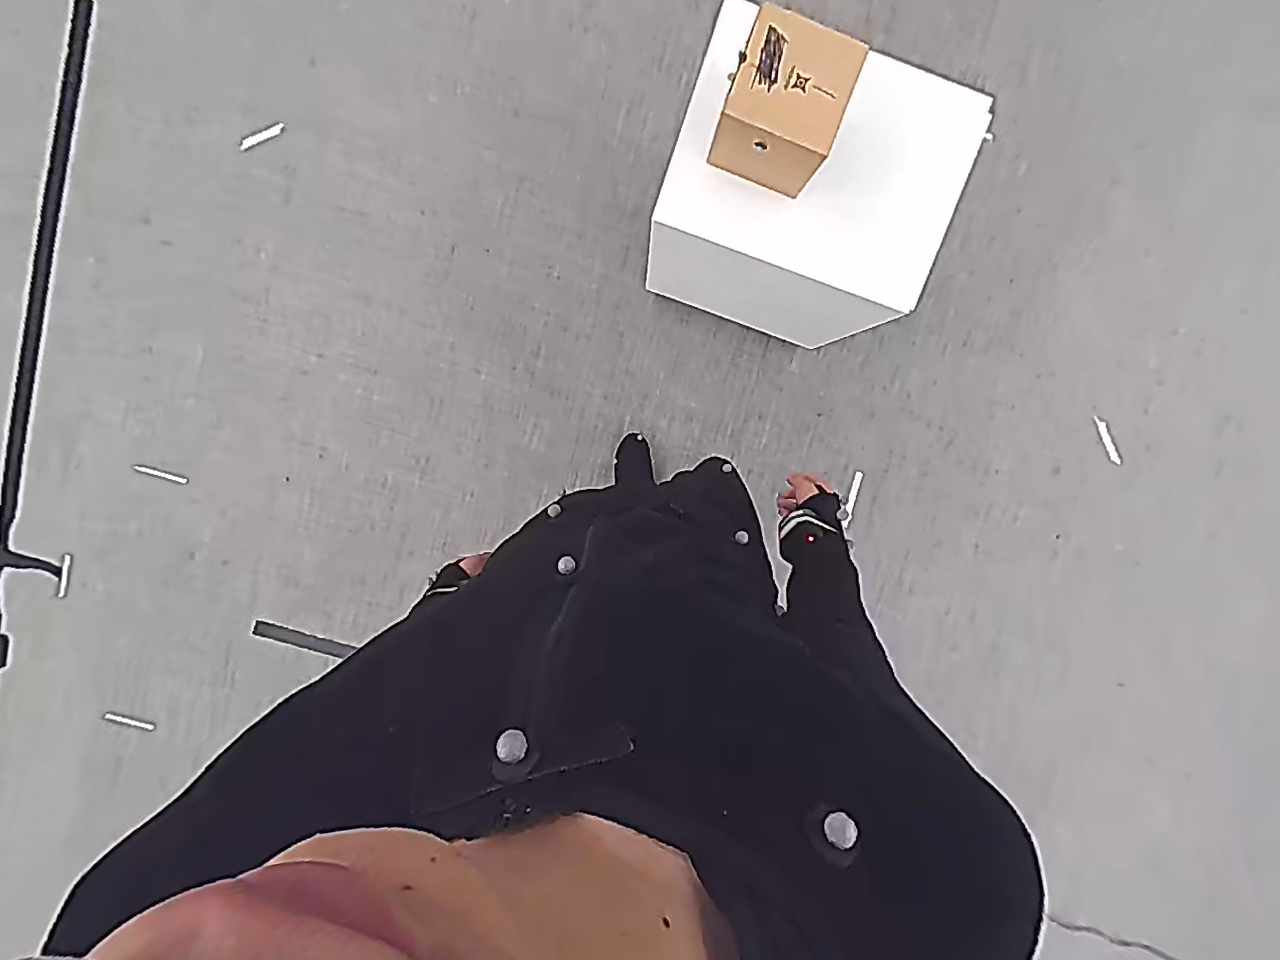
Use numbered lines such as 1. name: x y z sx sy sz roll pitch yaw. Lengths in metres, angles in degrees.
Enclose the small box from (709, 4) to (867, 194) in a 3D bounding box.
1. small box: 0.226 -0.601 0.881 0.179 0.176 0.168 20 97 -4
